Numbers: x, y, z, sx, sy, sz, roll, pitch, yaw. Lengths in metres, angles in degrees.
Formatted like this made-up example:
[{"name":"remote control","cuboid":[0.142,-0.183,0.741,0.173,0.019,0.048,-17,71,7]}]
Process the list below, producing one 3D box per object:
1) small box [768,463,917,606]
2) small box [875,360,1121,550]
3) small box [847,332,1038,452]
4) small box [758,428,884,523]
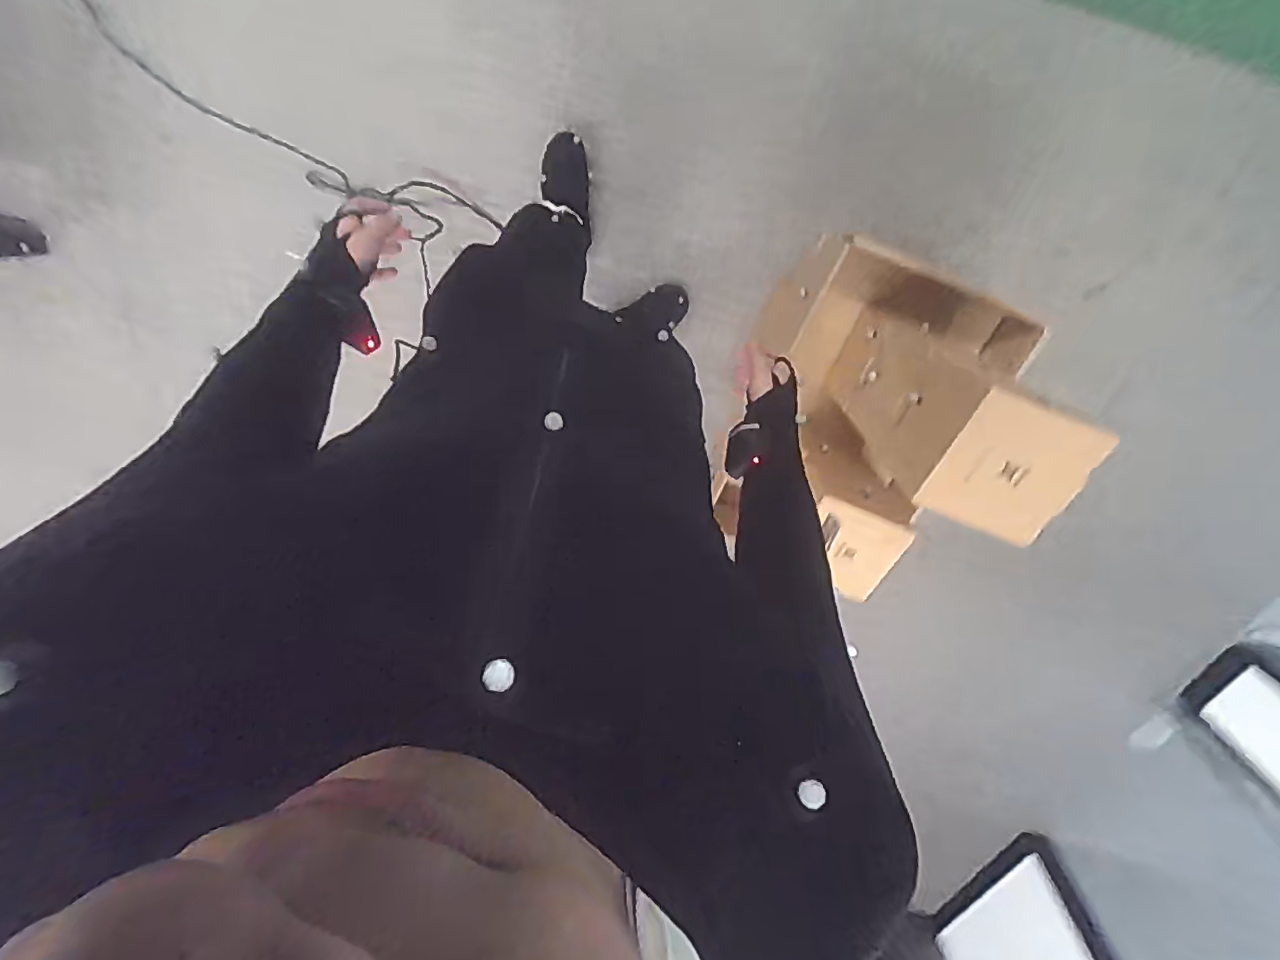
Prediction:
[{"name":"small box","cuboid":[0.352,0.090,0.982,0.179,0.176,0.168,22,117,-7]},{"name":"small box","cuboid":[0.452,-0.041,0.718,0.179,0.176,0.168,21,117,-6]},{"name":"small box","cuboid":[0.465,-0.118,0.861,0.179,0.176,0.168,20,117,-6]},{"name":"small box","cuboid":[0.365,0.013,1.127,0.179,0.176,0.168,22,117,-5]}]
